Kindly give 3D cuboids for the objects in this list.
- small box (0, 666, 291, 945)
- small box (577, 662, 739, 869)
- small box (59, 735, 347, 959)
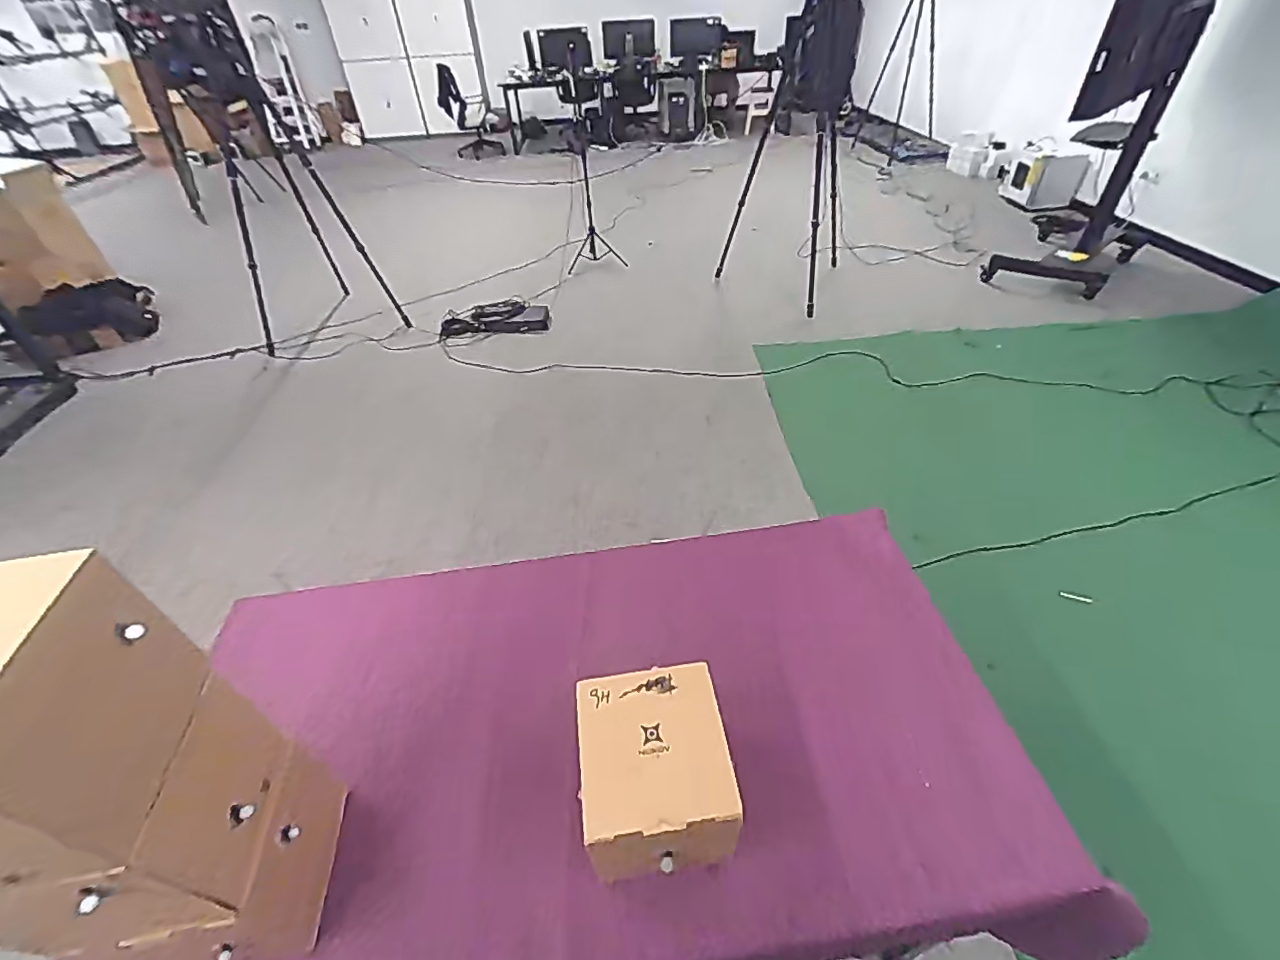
[{"bbox_3d":[-0.477,0.306,0.509,0.179,0.176,0.168,-8,43,-7],"label":"small box"},{"bbox_3d":[0.017,0.353,0.663,0.168,0.176,0.179,-7,43,-4],"label":"small box"},{"bbox_3d":[-0.465,0.425,0.618,0.168,0.176,0.179,-7,42,-5],"label":"small box"}]
